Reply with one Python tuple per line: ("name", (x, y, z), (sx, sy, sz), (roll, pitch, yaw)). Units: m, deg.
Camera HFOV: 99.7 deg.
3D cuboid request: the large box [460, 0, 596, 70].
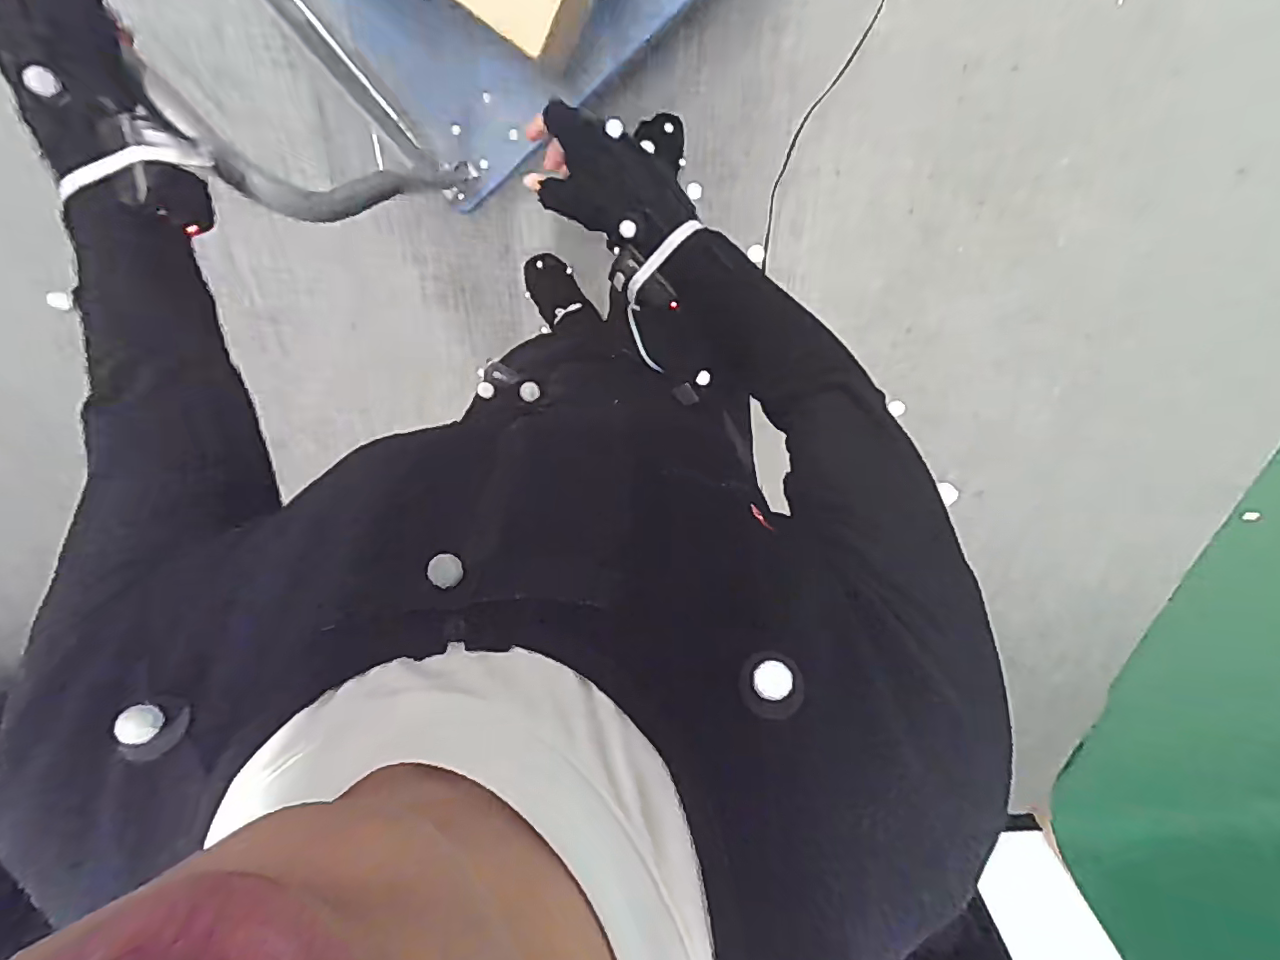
("large box", (-0.222, -0.843, 0.718), (0.408, 0.320, 0.320), (29, 116, -17))
